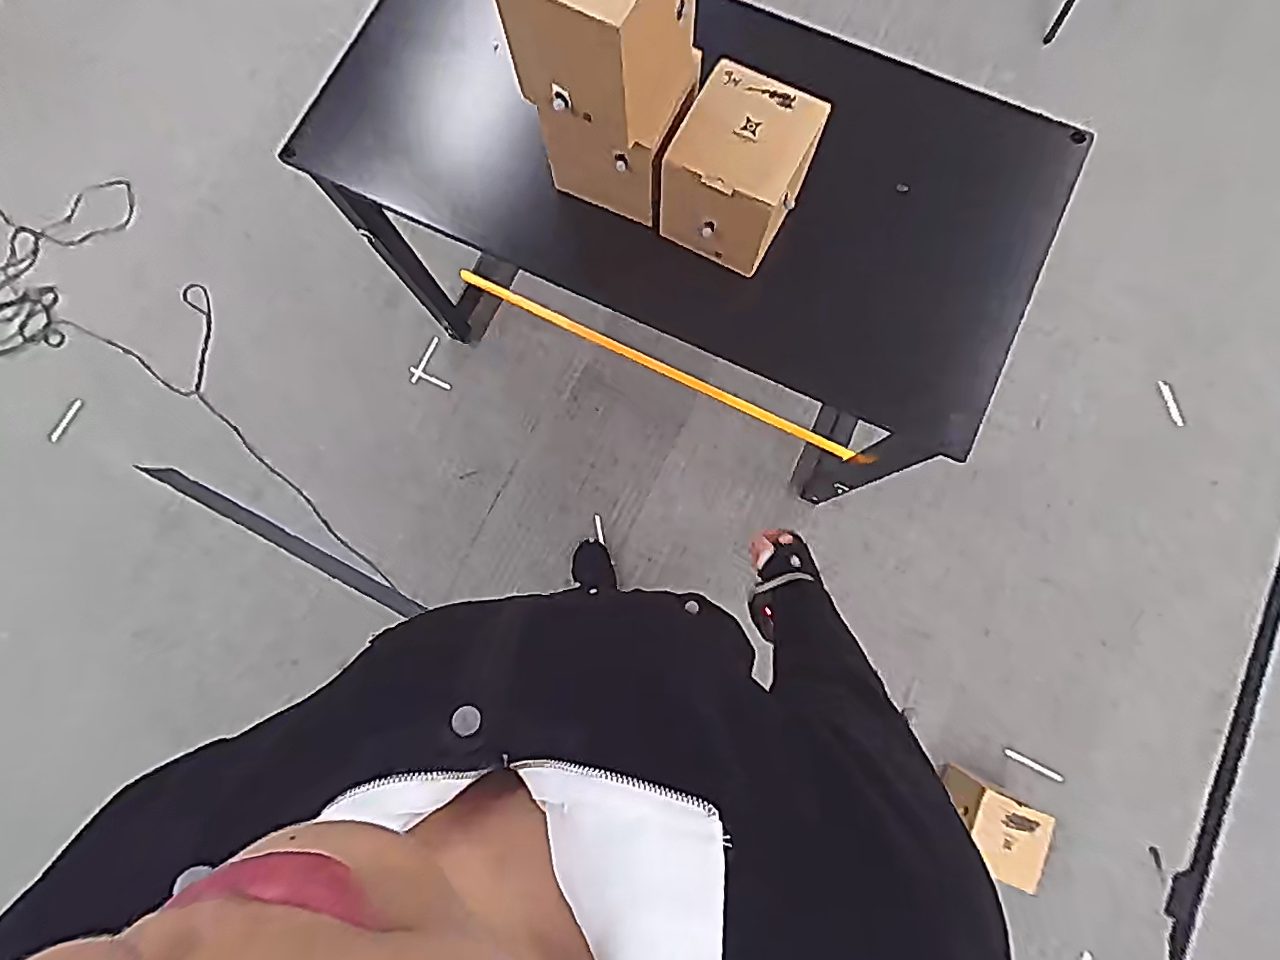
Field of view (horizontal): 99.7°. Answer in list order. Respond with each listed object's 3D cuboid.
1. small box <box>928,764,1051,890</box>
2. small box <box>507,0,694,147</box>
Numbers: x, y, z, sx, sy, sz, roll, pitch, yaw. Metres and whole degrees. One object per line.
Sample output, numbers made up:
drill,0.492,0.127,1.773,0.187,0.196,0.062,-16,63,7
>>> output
small box,0.834,0.824,1.308,0.168,0.176,0.179,23,82,5
small box,-0.043,-0.555,0.647,0.168,0.176,0.179,28,83,7
